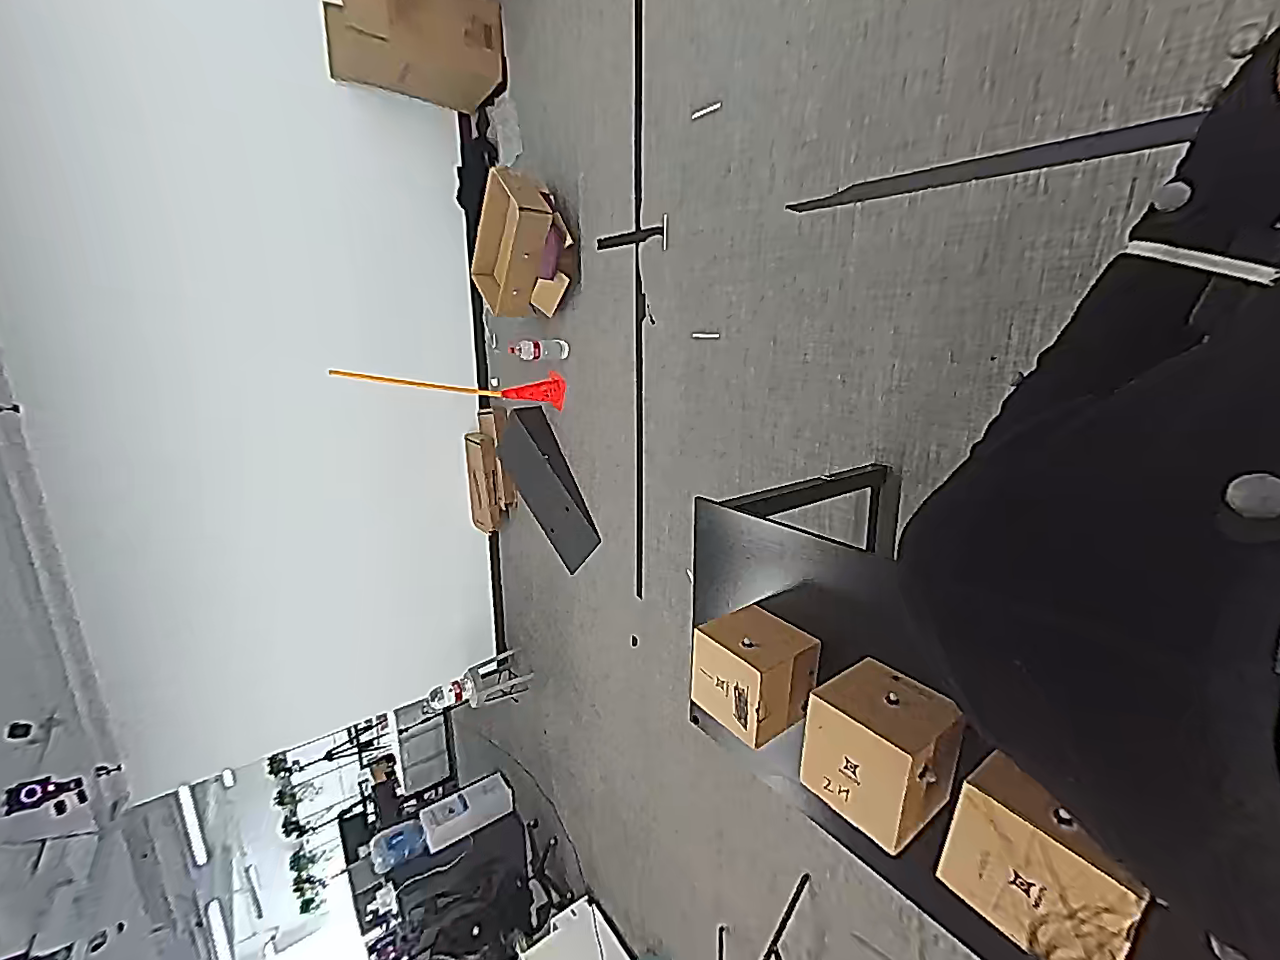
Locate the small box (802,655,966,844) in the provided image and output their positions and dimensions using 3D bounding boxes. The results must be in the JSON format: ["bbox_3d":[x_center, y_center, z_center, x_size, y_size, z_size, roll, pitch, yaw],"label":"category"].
[{"bbox_3d":[0.384,0.407,0.854,0.168,0.176,0.179,22,117,51],"label":"small box"}]

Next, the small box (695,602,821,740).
[{"bbox_3d":[0.229,0.359,1.058,0.179,0.176,0.168,23,117,51],"label":"small box"}]
